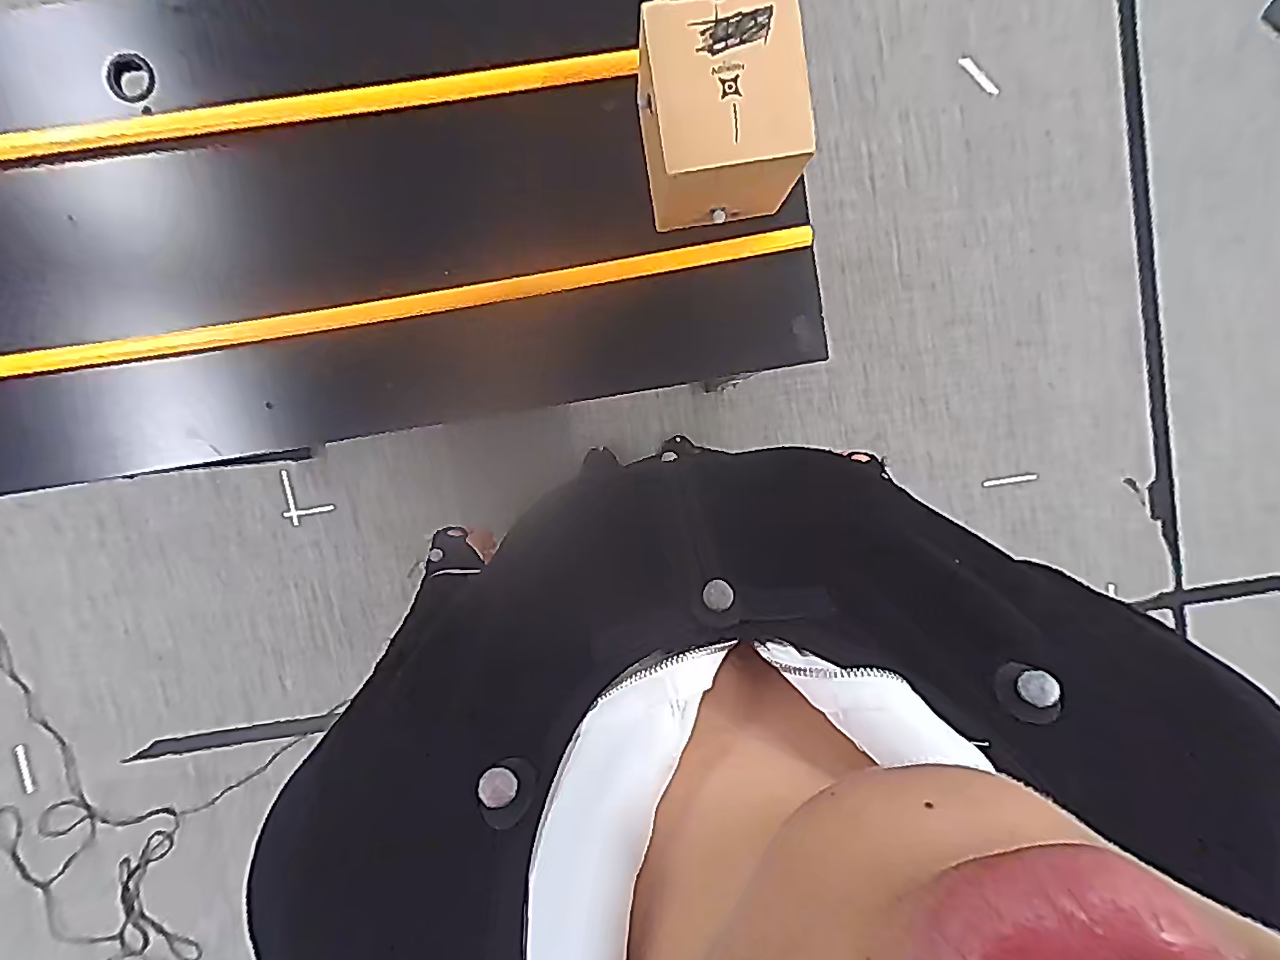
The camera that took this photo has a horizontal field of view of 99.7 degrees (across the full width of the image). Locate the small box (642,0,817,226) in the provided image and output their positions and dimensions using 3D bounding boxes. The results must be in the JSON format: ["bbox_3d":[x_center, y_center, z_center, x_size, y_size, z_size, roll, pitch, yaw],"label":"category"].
[{"bbox_3d":[0.096,-0.435,0.650,0.168,0.176,0.179,-9,96,0],"label":"small box"}]
